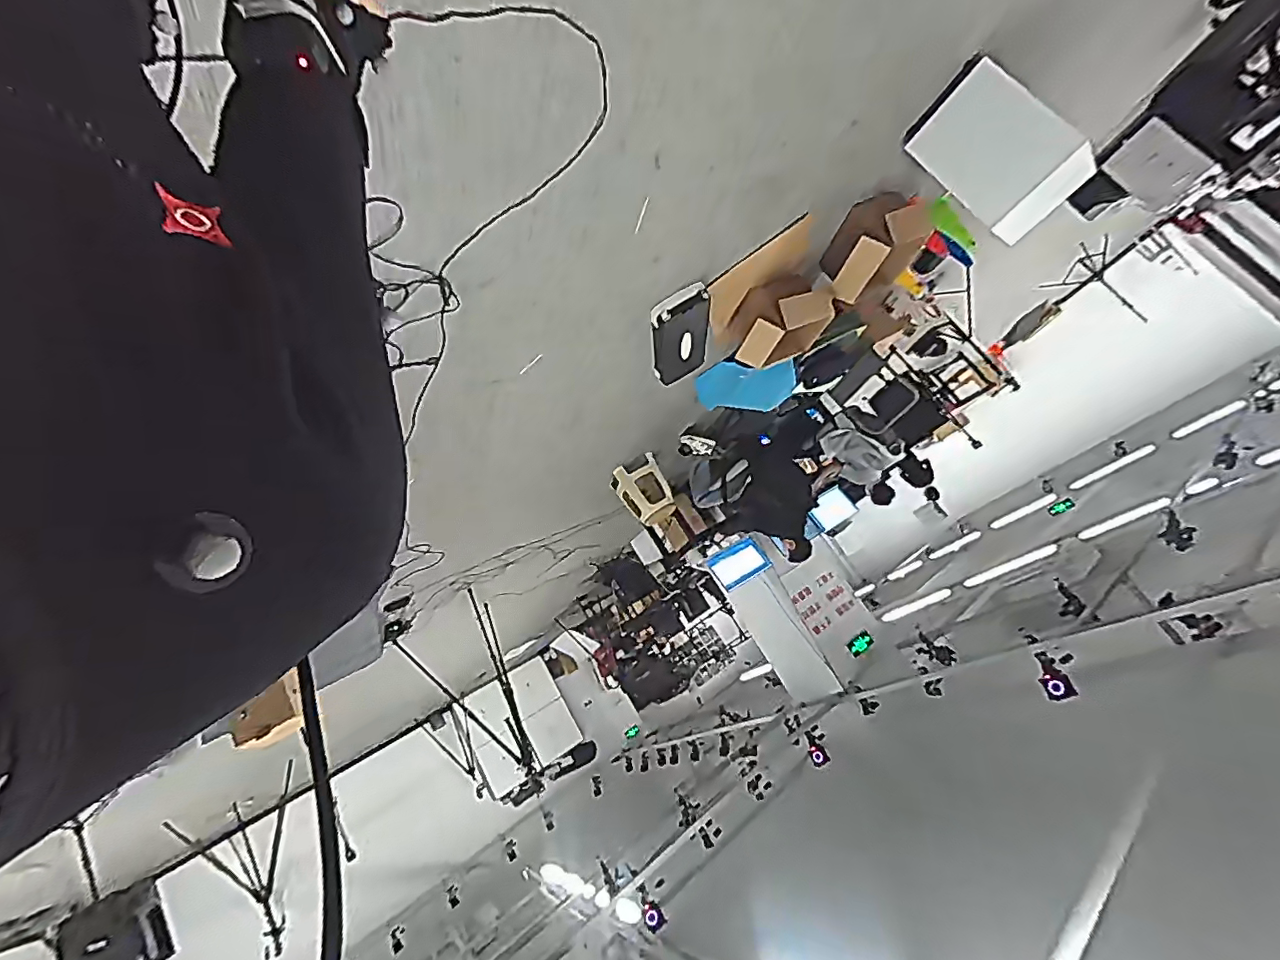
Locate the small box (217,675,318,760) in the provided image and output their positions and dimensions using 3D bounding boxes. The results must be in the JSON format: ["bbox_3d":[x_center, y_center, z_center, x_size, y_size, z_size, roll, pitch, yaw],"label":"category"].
[{"bbox_3d":[-1.101,0.695,1.598,0.168,0.176,0.179,-27,164,-17],"label":"small box"}]
